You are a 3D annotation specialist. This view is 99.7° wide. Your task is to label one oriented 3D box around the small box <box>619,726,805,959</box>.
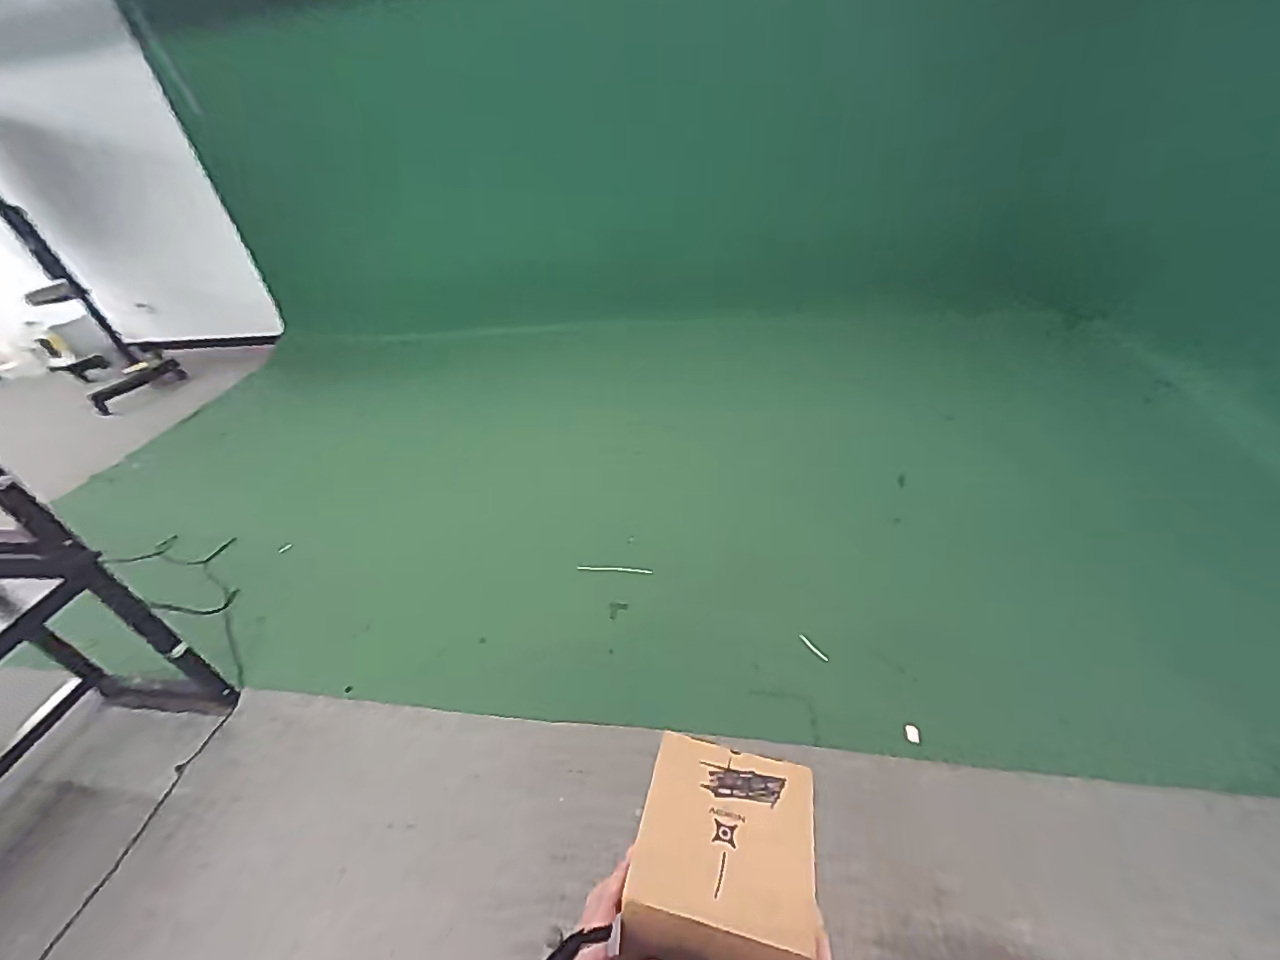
[{"bbox_3d":[0.075,0.405,0.572,0.168,0.176,0.179,8,28,11],"label":"small box"}]
